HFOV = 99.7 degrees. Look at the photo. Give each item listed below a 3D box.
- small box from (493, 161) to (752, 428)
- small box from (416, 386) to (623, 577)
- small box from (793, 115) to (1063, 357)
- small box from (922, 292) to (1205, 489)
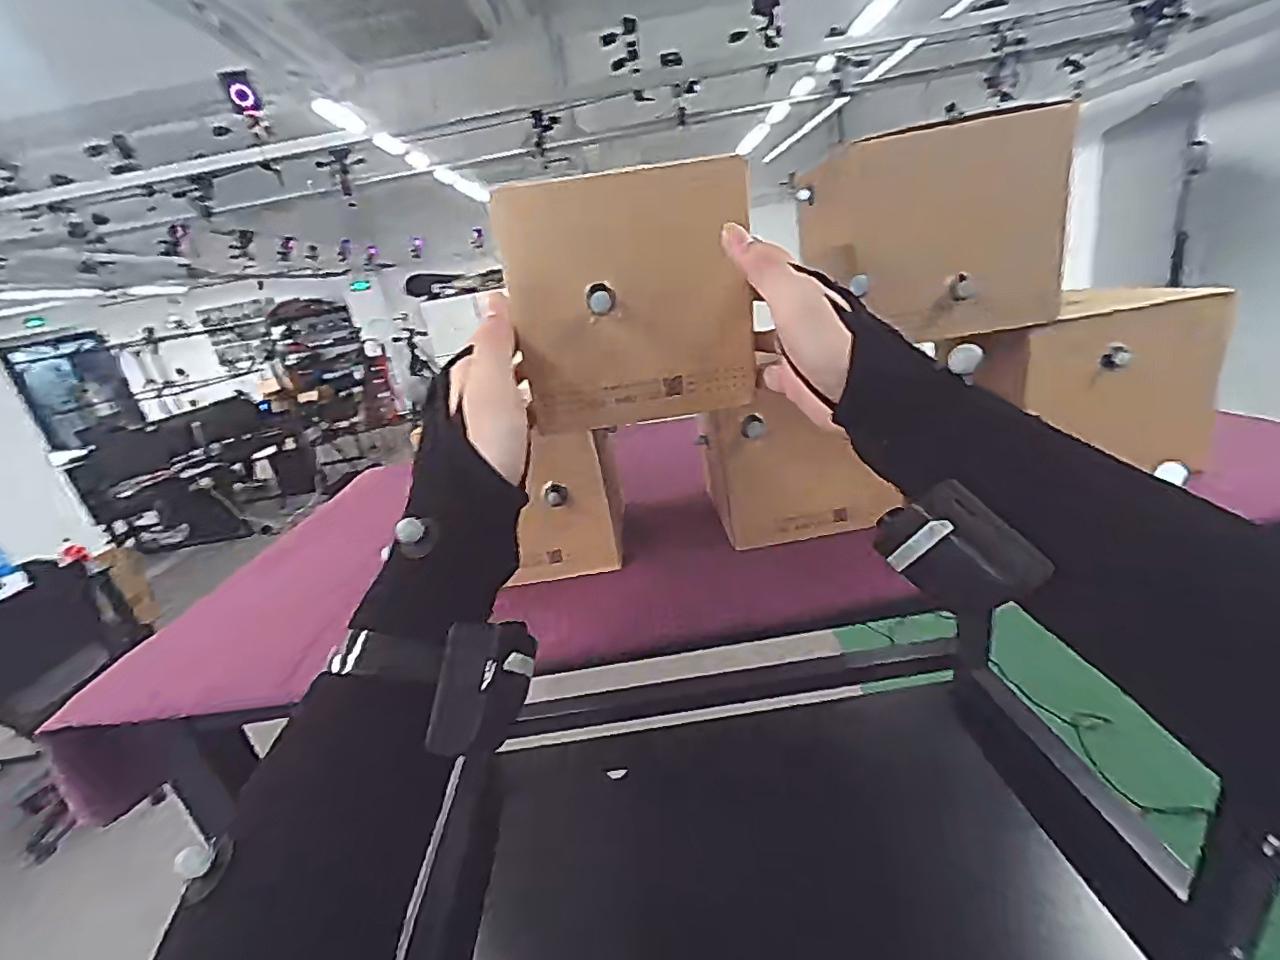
[{"bbox_3d":[-0.009,-0.149,0.449,0.168,0.176,0.179,-9,26,-2],"label":"small box"},{"bbox_3d":[-0.112,-0.005,0.590,0.168,0.176,0.179,-8,20,2],"label":"small box"},{"bbox_3d":[0.259,-0.226,0.529,0.179,0.176,0.168,-8,19,3],"label":"small box"},{"bbox_3d":[0.432,-0.100,0.582,0.179,0.176,0.168,-10,20,1],"label":"small box"}]
